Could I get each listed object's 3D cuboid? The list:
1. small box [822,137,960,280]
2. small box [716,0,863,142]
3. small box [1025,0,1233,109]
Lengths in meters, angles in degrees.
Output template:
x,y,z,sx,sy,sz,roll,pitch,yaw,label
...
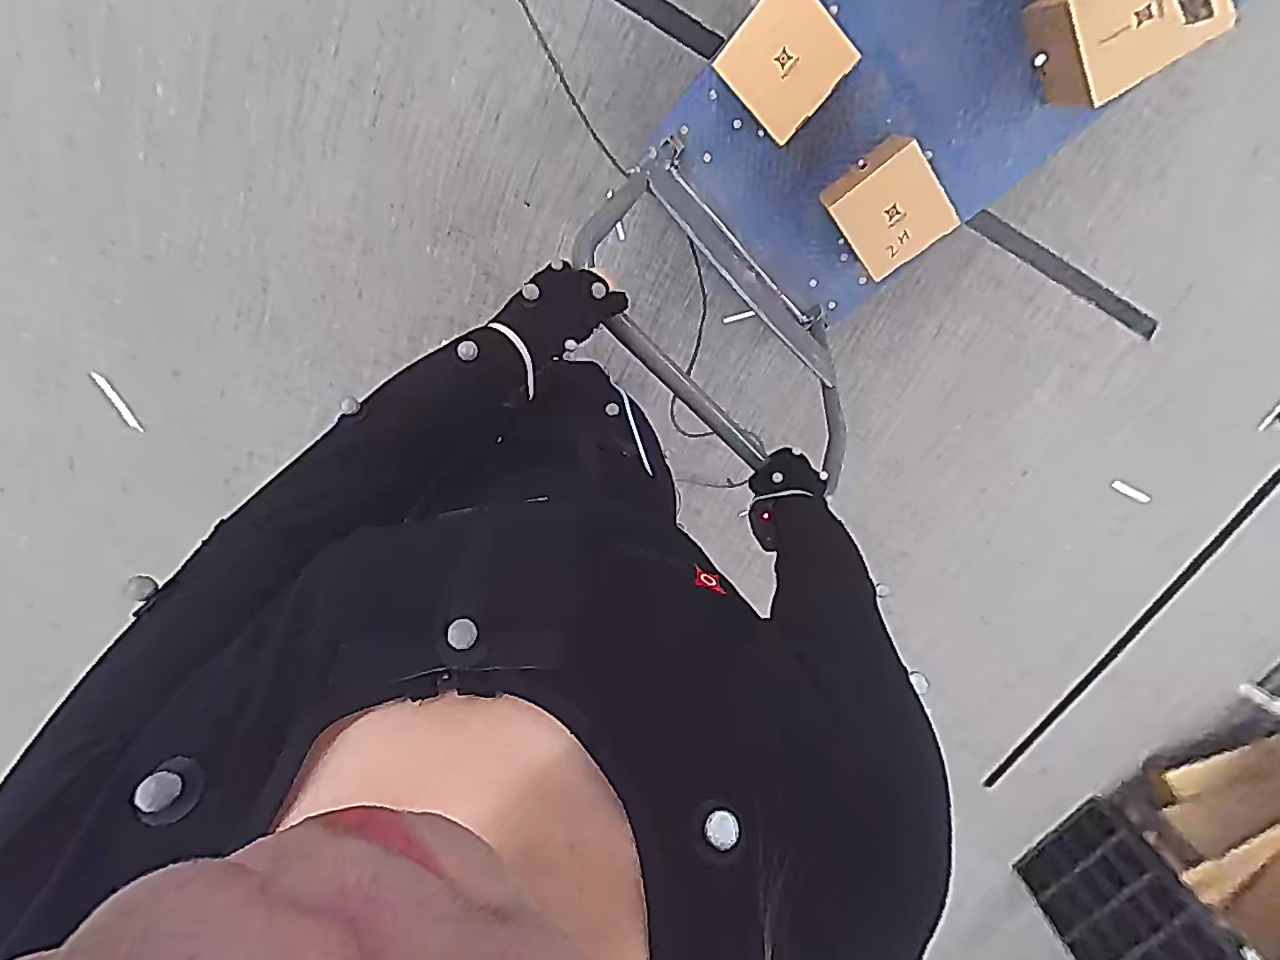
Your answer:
x,y,z,sx,sy,sz,roll,pitch,yaw,label
0.470,-0.523,1.037,0.168,0.176,0.179,-32,114,29,small box
0.247,-0.724,0.934,0.179,0.176,0.168,38,123,-19,small box
0.750,-0.722,0.845,0.179,0.176,0.168,-26,117,27,small box
